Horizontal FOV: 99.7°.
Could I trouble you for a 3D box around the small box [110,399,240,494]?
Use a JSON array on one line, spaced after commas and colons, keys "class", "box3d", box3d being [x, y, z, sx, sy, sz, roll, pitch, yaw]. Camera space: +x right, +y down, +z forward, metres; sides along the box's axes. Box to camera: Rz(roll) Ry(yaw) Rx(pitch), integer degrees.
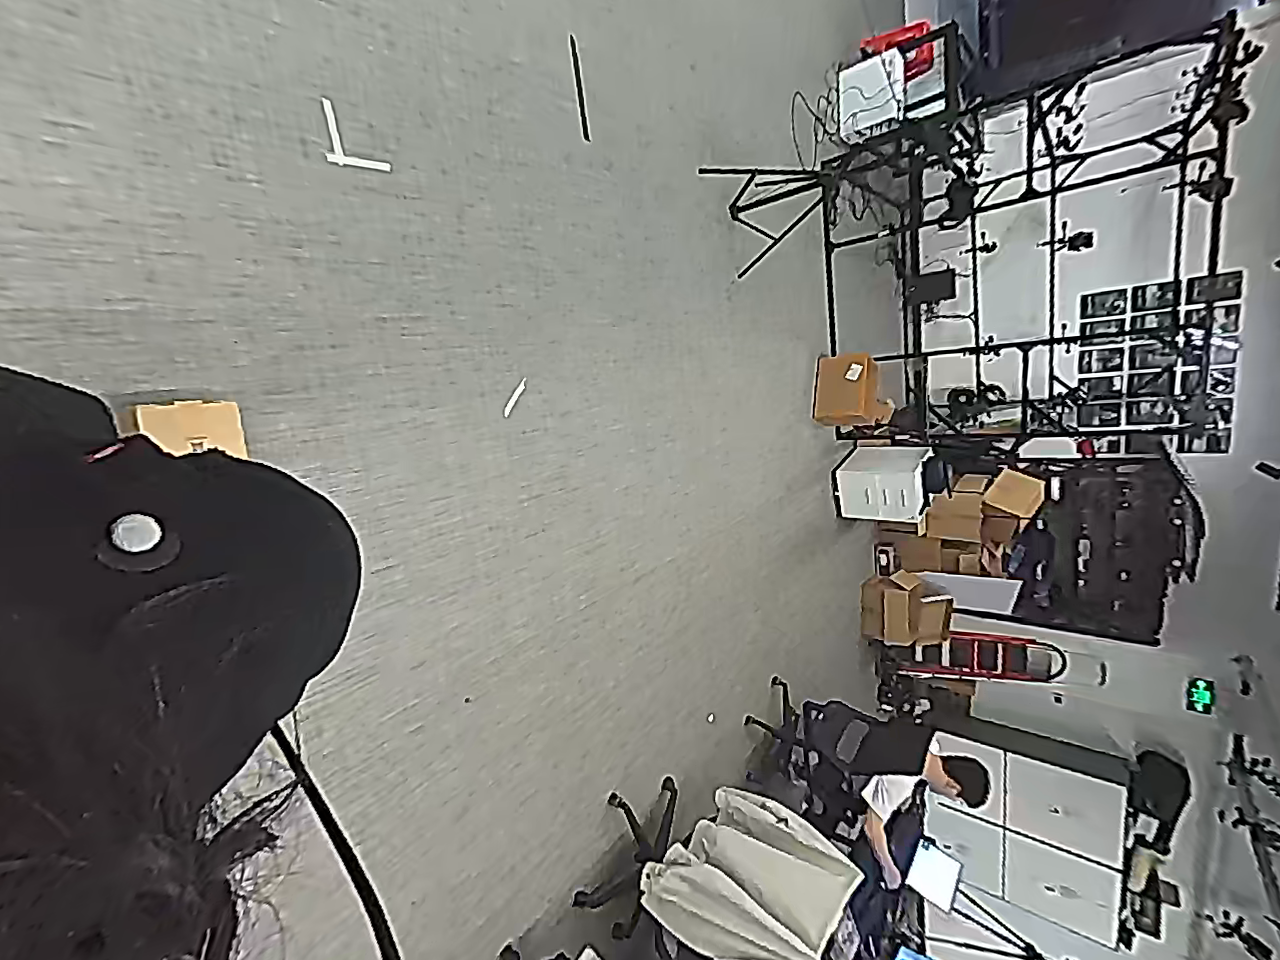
[{"class": "small box", "box3d": [-0.976, -0.072, 1.133, 0.168, 0.176, 0.179, -15, 104, -48]}]
